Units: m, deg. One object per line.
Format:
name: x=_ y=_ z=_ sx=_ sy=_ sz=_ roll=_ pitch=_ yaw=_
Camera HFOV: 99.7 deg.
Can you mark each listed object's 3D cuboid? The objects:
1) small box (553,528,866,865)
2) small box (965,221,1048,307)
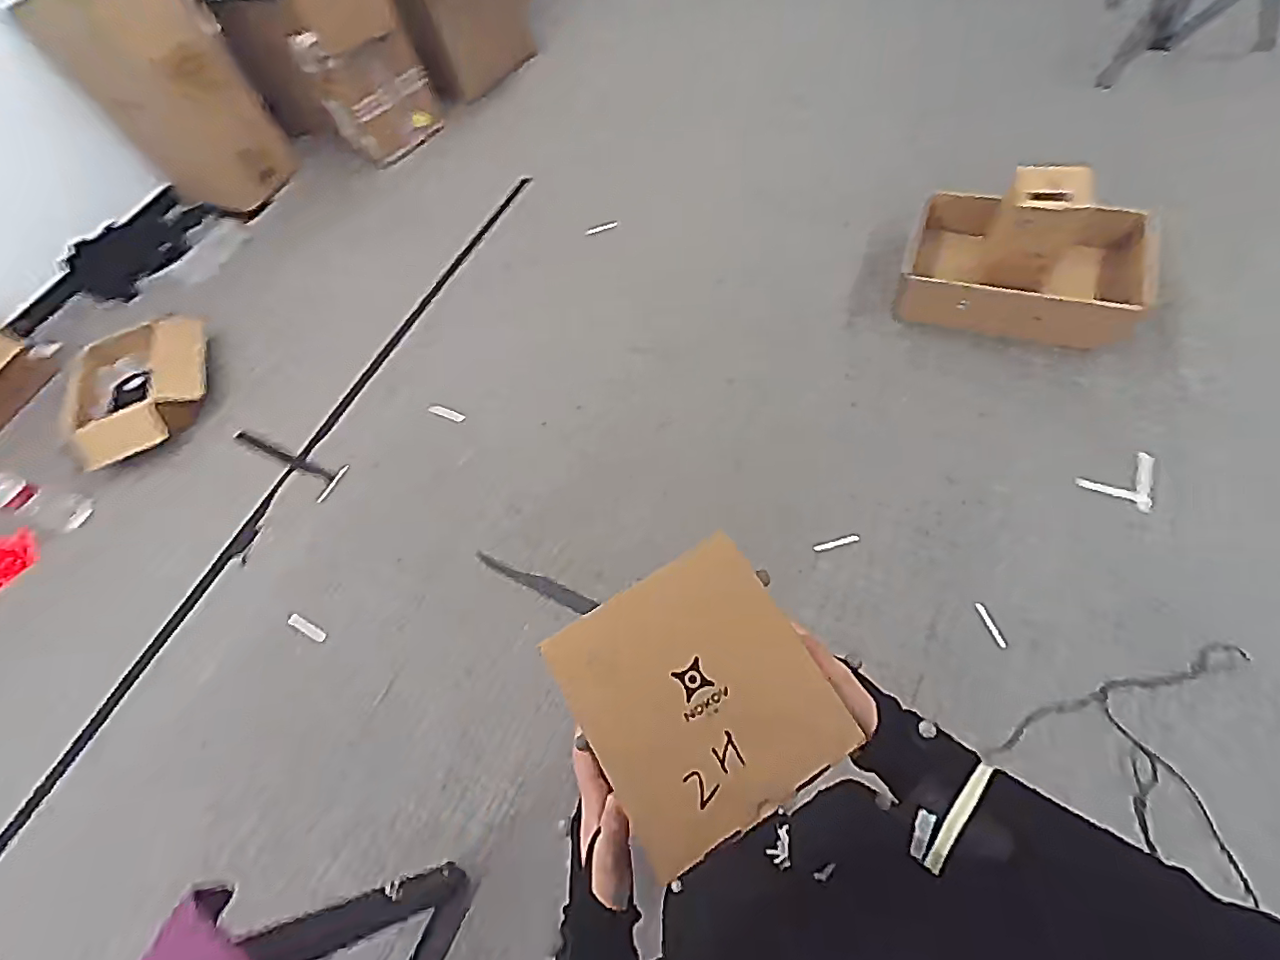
small box: x=0.046 y=0.169 z=0.460 sx=0.168 sy=0.176 sz=0.179 roll=-29 pitch=73 yaw=-7
small box: x=1.114 y=-0.660 z=1.653 sx=0.168 sy=0.176 sz=0.179 roll=11 pitch=66 yaw=17
